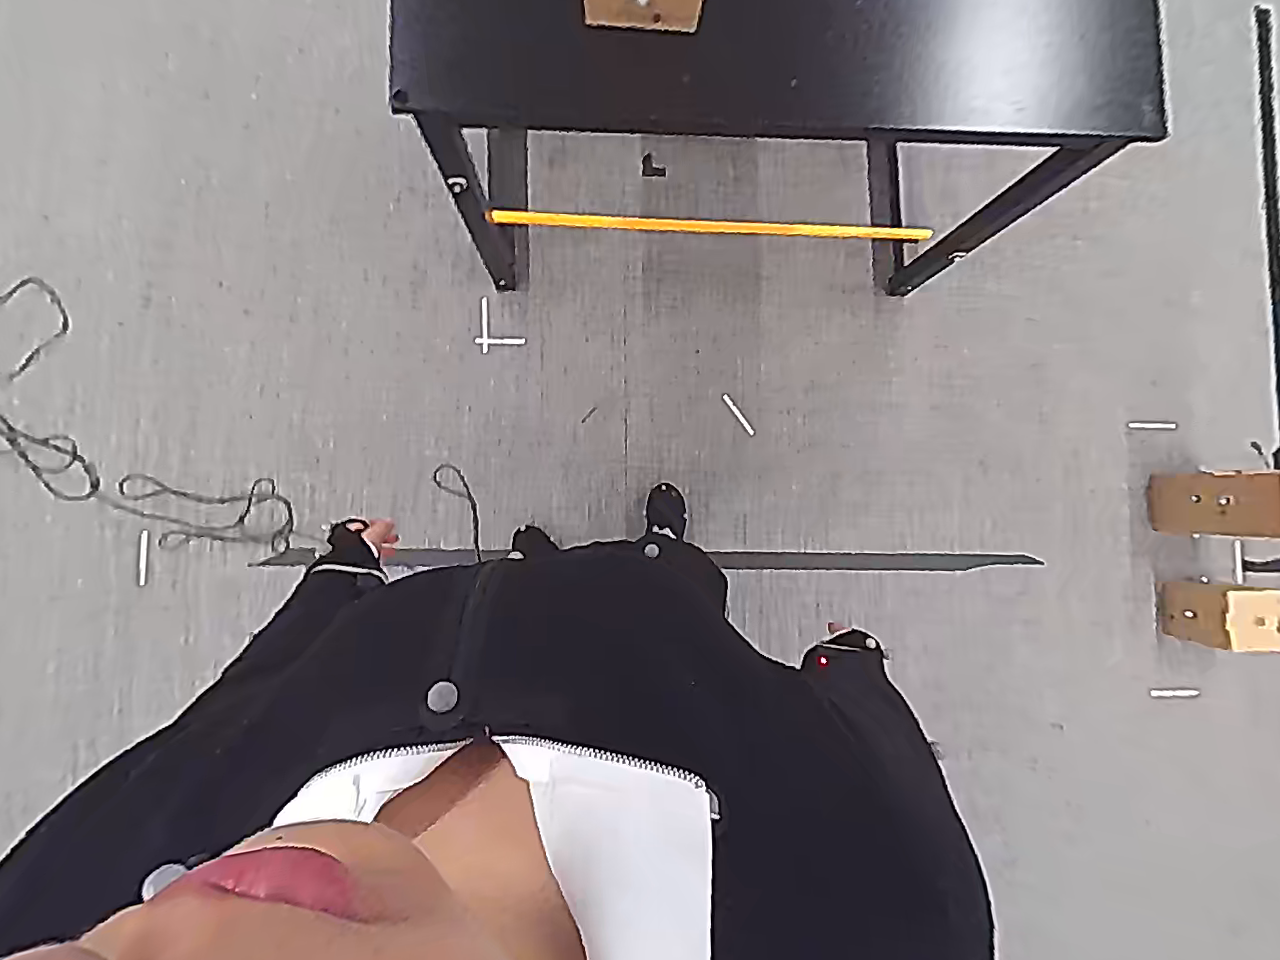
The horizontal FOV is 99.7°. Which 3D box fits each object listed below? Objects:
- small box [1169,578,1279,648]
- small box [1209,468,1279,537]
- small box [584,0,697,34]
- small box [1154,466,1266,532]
[{"bbox_3d":[1.661,0.374,1.536,0.179,0.176,0.168,0,88,-3],"label":"small box"},{"bbox_3d":[1.631,0.053,1.381,0.179,0.176,0.168,-4,87,-3],"label":"small box"},{"bbox_3d":[0.004,-0.767,0.735,0.168,0.176,0.179,1,87,-4],"label":"small box"},{"bbox_3d":[1.624,0.055,1.543,0.168,0.176,0.179,-2,89,-4],"label":"small box"}]
